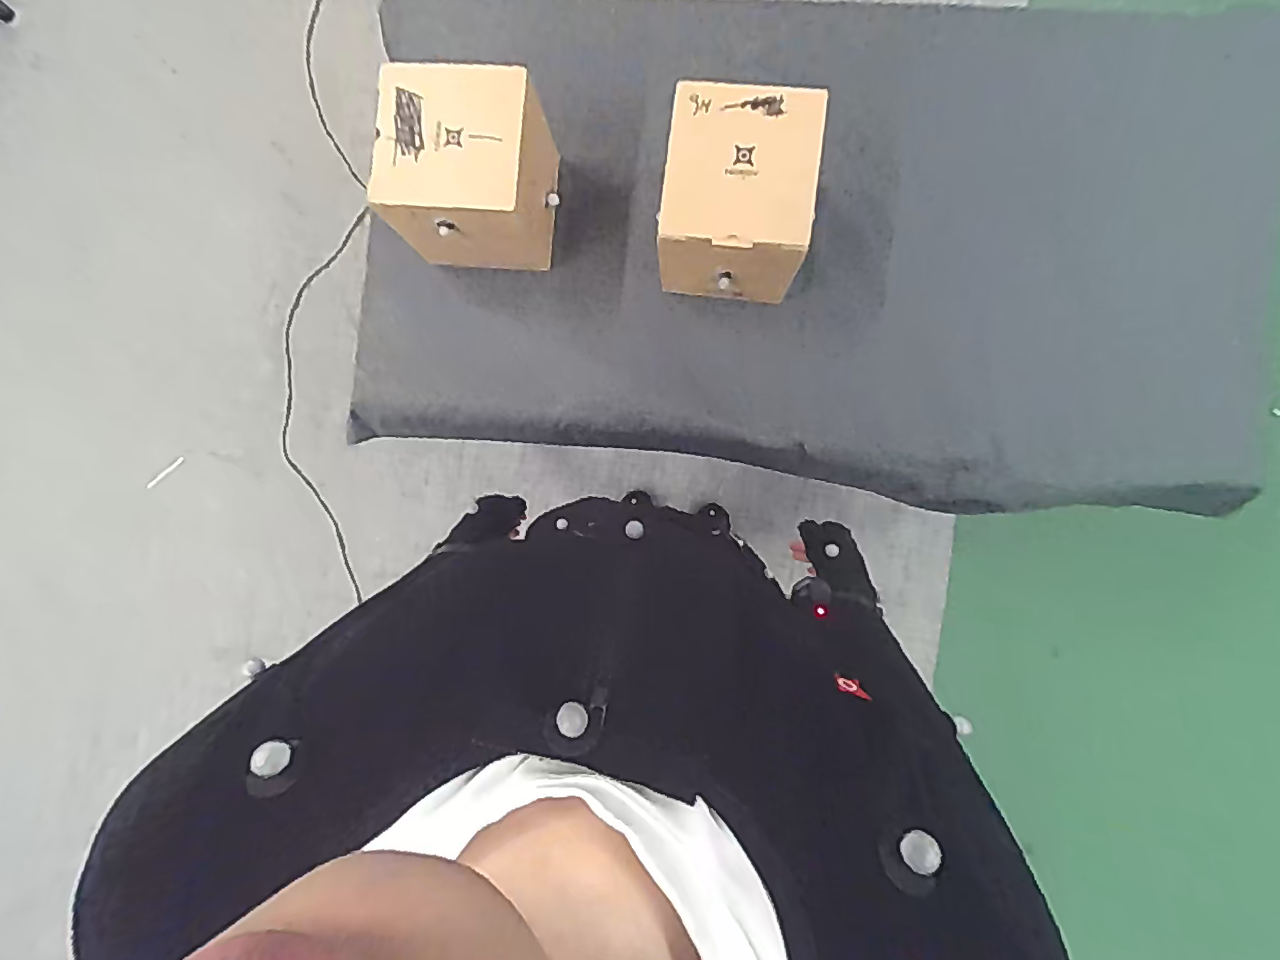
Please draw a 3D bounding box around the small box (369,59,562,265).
[{"bbox_3d":[-0.209,-0.389,0.689,0.179,0.176,0.168,5,90,4],"label":"small box"}]

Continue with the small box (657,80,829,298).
[{"bbox_3d":[0.118,-0.340,0.663,0.168,0.176,0.179,8,90,5],"label":"small box"}]
